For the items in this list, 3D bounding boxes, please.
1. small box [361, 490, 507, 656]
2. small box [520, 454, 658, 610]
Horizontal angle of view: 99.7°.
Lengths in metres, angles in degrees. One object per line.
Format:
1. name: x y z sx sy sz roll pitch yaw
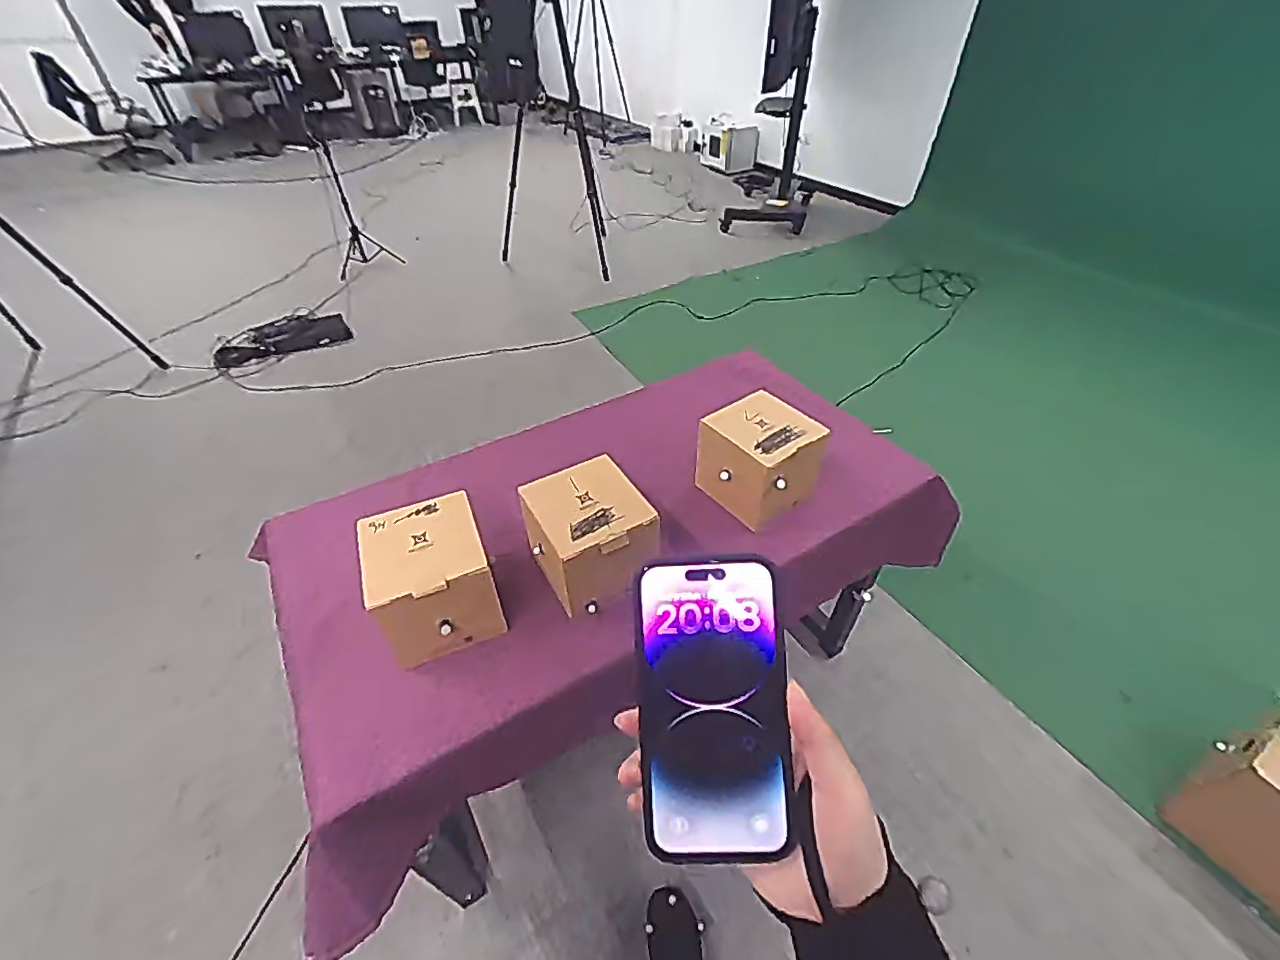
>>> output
1. small box: -0.316 0.150 0.844 0.168 0.176 0.179 -17 46 -17
2. small box: -0.081 0.092 0.902 0.168 0.176 0.179 -22 47 -22
